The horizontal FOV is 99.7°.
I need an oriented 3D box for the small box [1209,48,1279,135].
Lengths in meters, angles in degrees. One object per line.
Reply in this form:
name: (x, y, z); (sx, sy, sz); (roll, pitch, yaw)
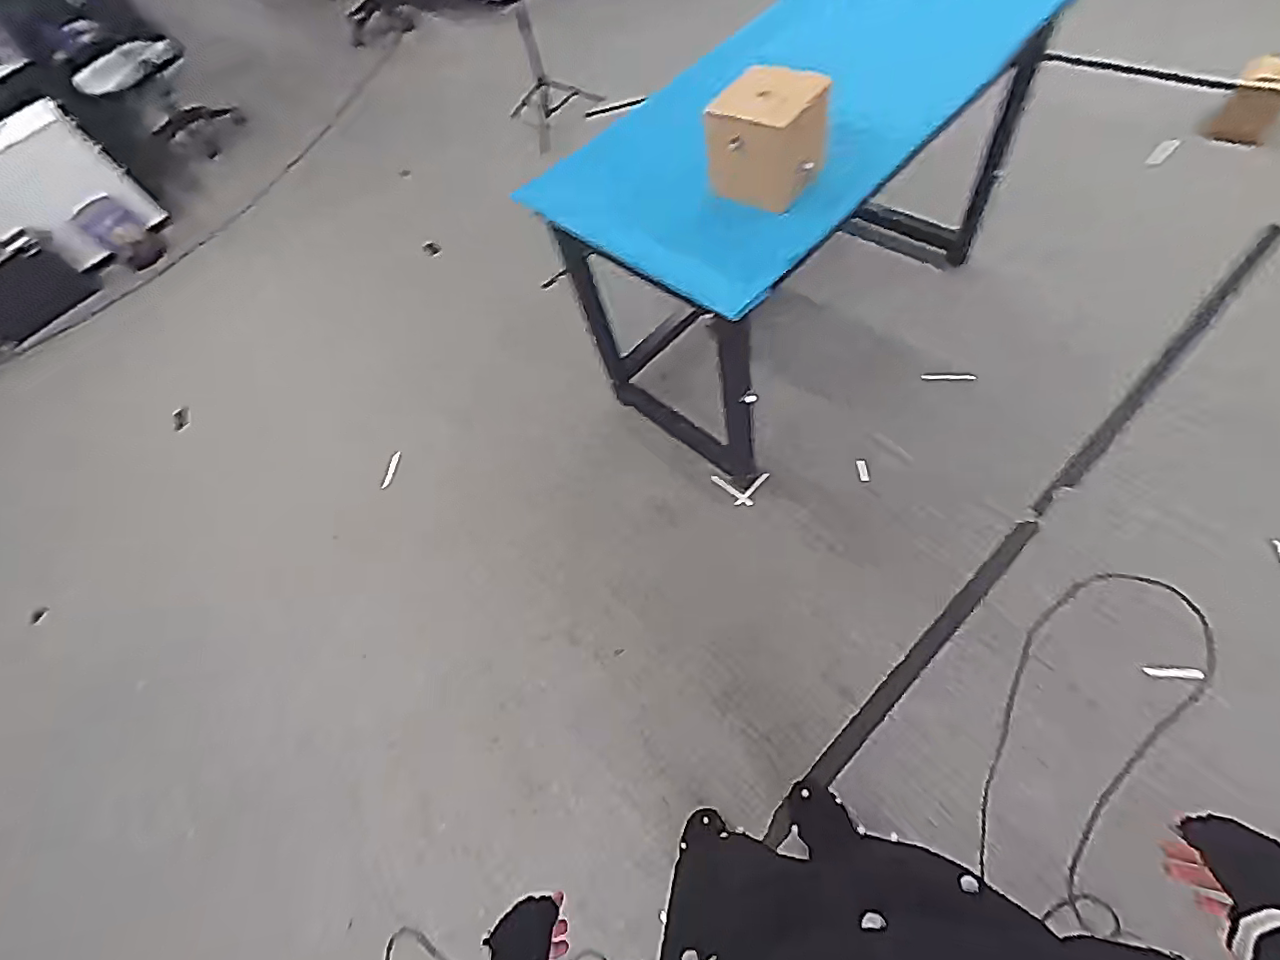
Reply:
small box: (2.080, -1.296, 1.809); (0.168, 0.176, 0.179); (37, 74, 28)

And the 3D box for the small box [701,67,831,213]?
small box: (0.243, -0.659, 1.058); (0.179, 0.176, 0.168); (37, 76, 26)
